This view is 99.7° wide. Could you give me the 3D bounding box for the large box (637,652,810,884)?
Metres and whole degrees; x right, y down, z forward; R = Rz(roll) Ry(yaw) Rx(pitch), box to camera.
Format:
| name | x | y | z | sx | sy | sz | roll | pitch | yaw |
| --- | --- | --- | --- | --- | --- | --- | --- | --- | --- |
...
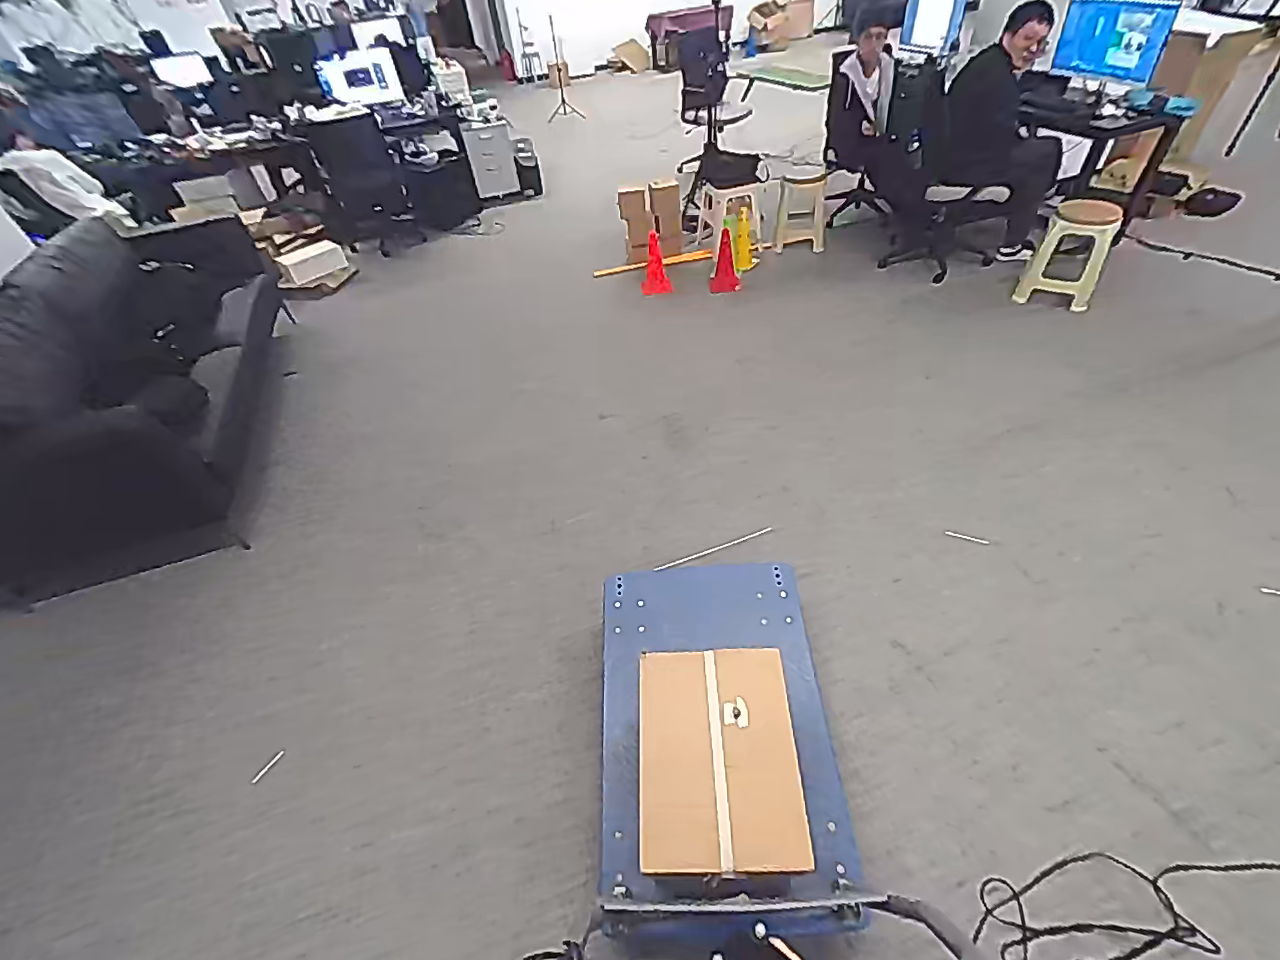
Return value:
| name | x | y | z | sx | sy | sz | roll | pitch | yaw |
| --- | --- | --- | --- | --- | --- | --- | --- | --- | --- |
| large box | 0.163 | 0.641 | 1.205 | 0.320 | 0.320 | 0.408 | -3 | 50 | 3 |
